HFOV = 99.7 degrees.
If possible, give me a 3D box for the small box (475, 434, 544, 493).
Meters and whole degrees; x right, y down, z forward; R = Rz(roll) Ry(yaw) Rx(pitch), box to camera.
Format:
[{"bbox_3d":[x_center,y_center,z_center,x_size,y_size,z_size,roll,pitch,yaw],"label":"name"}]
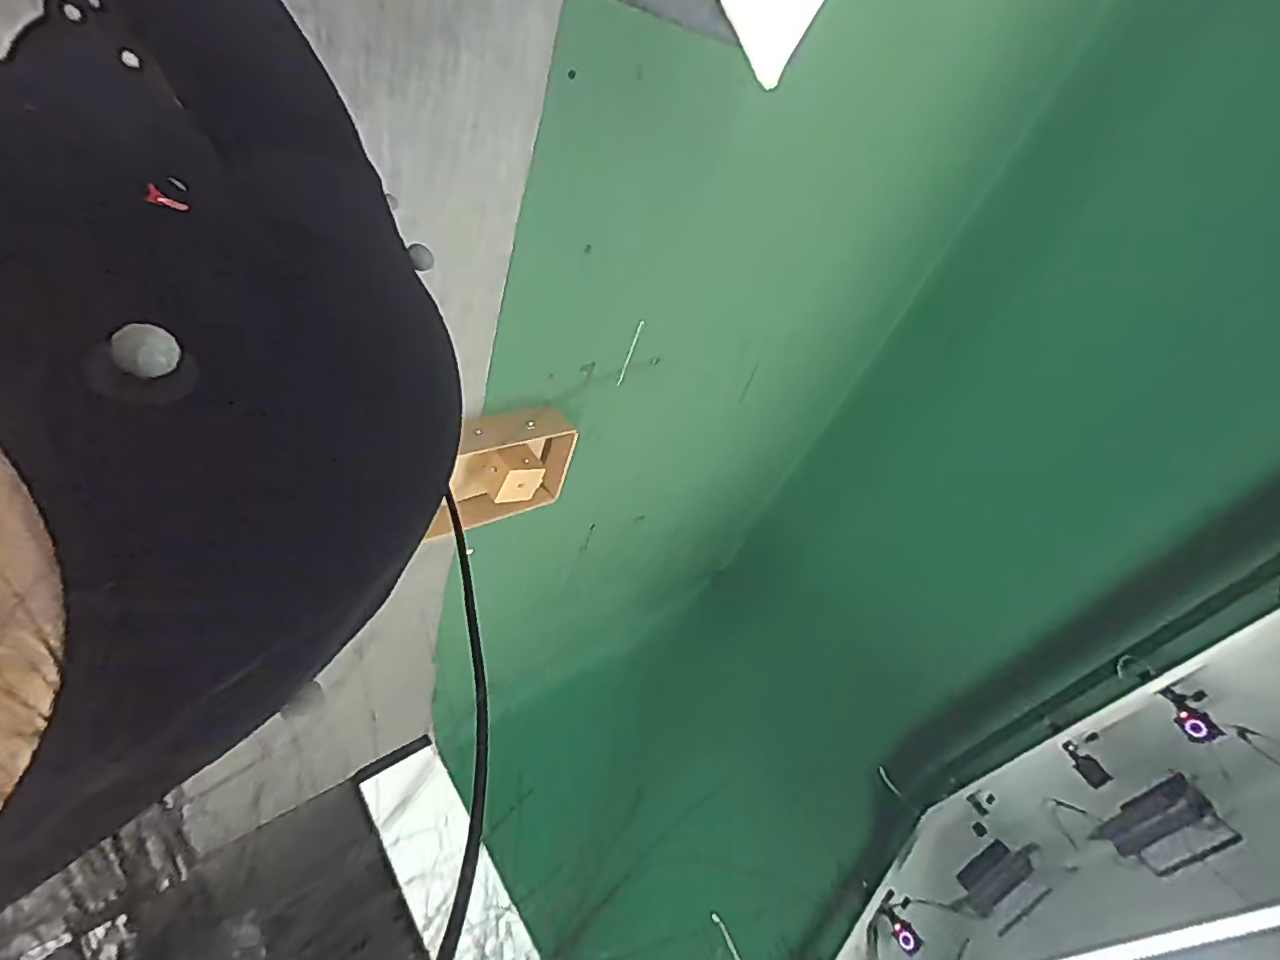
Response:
[{"bbox_3d":[-0.515,-0.068,2.106,0.179,0.176,0.168,-5,136,-49],"label":"small box"}]
